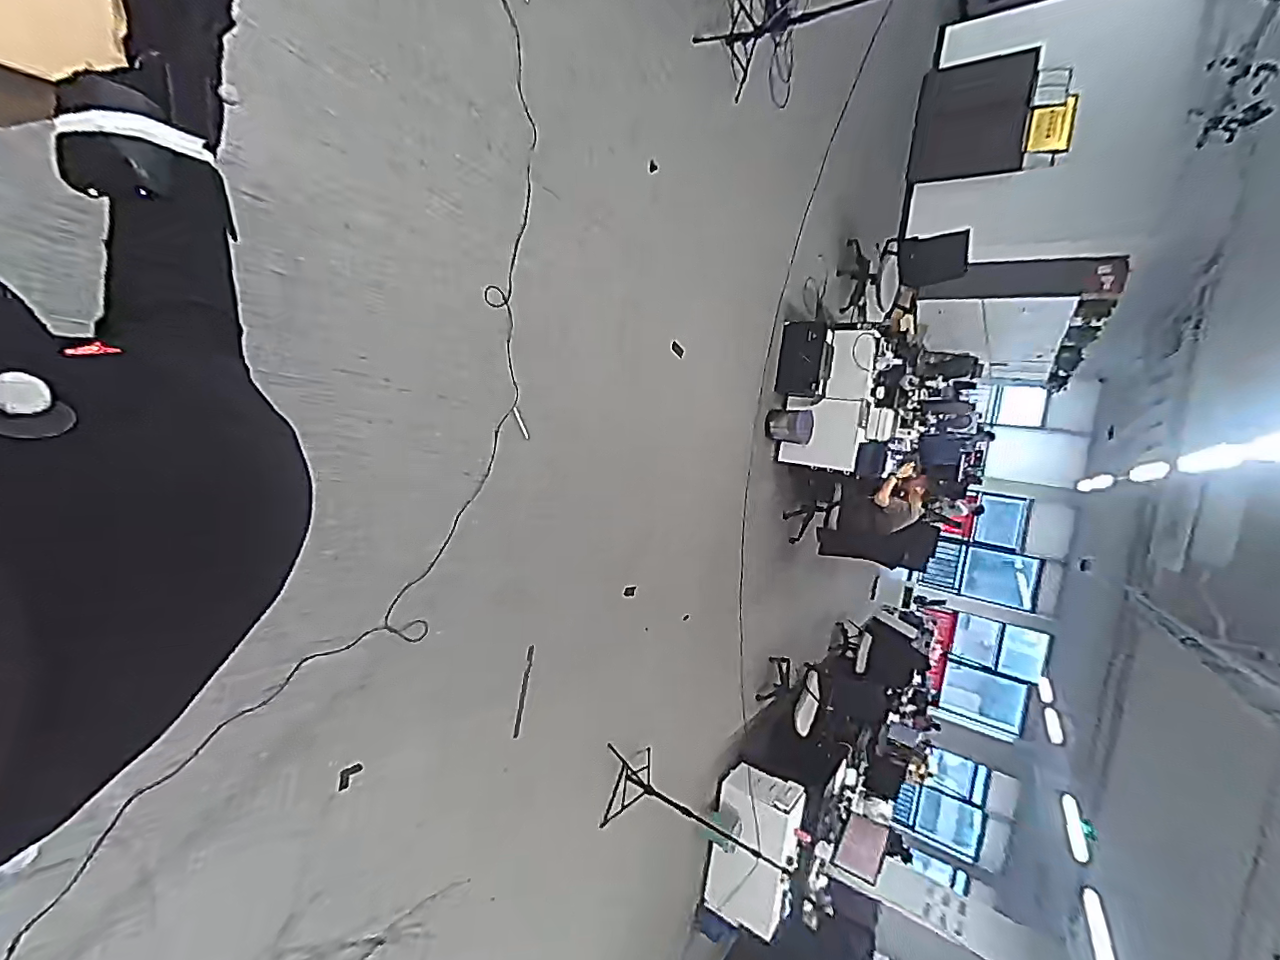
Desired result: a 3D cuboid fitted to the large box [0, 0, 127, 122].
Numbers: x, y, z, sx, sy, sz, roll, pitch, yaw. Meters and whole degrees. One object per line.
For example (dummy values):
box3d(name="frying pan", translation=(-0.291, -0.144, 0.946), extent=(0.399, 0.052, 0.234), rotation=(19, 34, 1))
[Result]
box3d(name="large box", translation=(-0.565, -0.421, 0.247), extent=(0.408, 0.320, 0.320), rotation=(-13, 117, -58))
